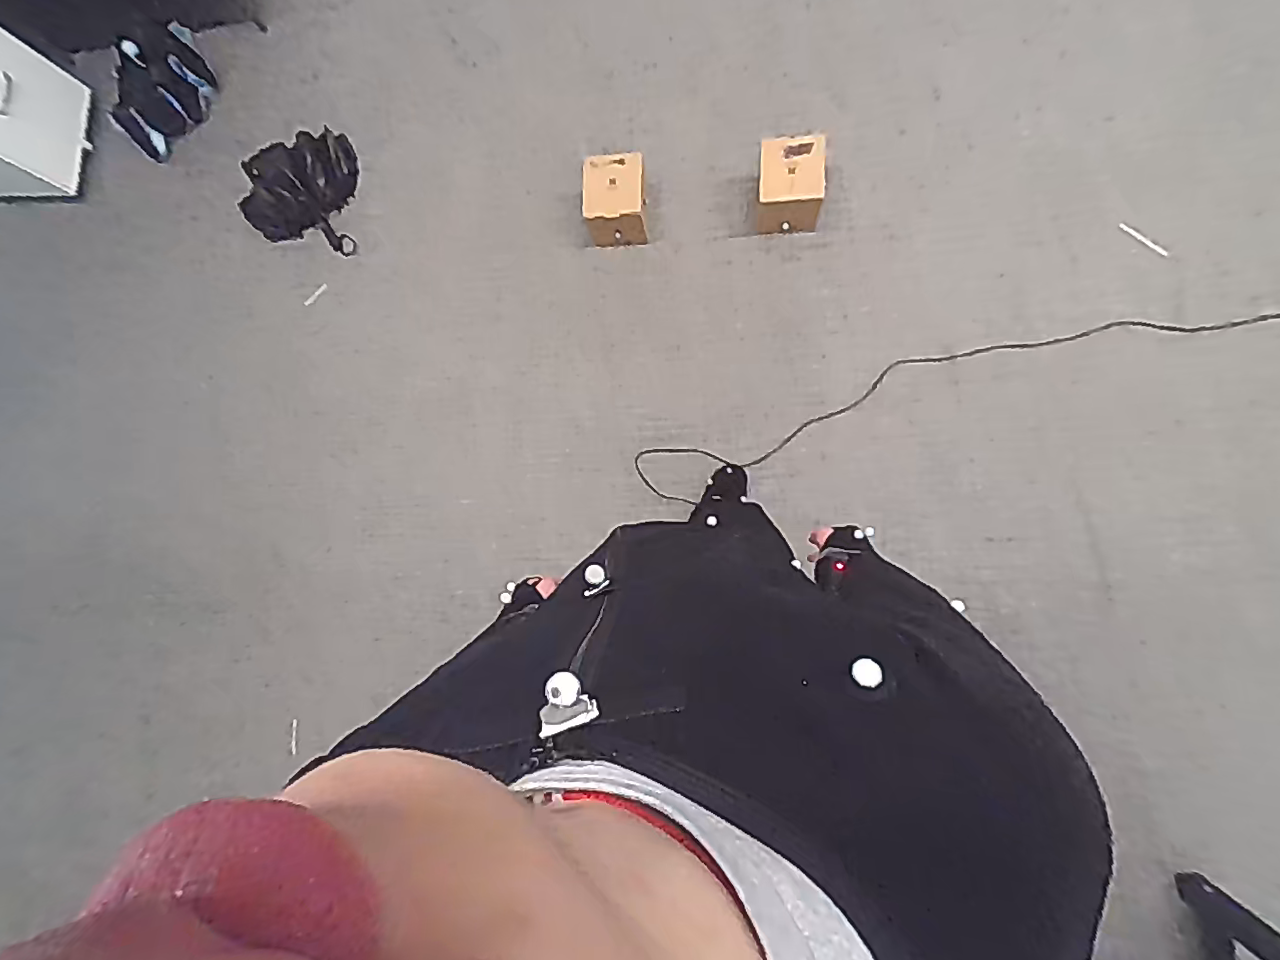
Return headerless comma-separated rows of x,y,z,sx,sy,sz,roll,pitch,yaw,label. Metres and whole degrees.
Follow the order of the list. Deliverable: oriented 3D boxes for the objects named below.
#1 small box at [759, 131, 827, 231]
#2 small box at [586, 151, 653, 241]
0.415,-0.814,1.485,0.168,0.176,0.179,1,88,10,small box
-0.055,-0.809,1.565,0.168,0.176,0.179,1,86,9,small box
